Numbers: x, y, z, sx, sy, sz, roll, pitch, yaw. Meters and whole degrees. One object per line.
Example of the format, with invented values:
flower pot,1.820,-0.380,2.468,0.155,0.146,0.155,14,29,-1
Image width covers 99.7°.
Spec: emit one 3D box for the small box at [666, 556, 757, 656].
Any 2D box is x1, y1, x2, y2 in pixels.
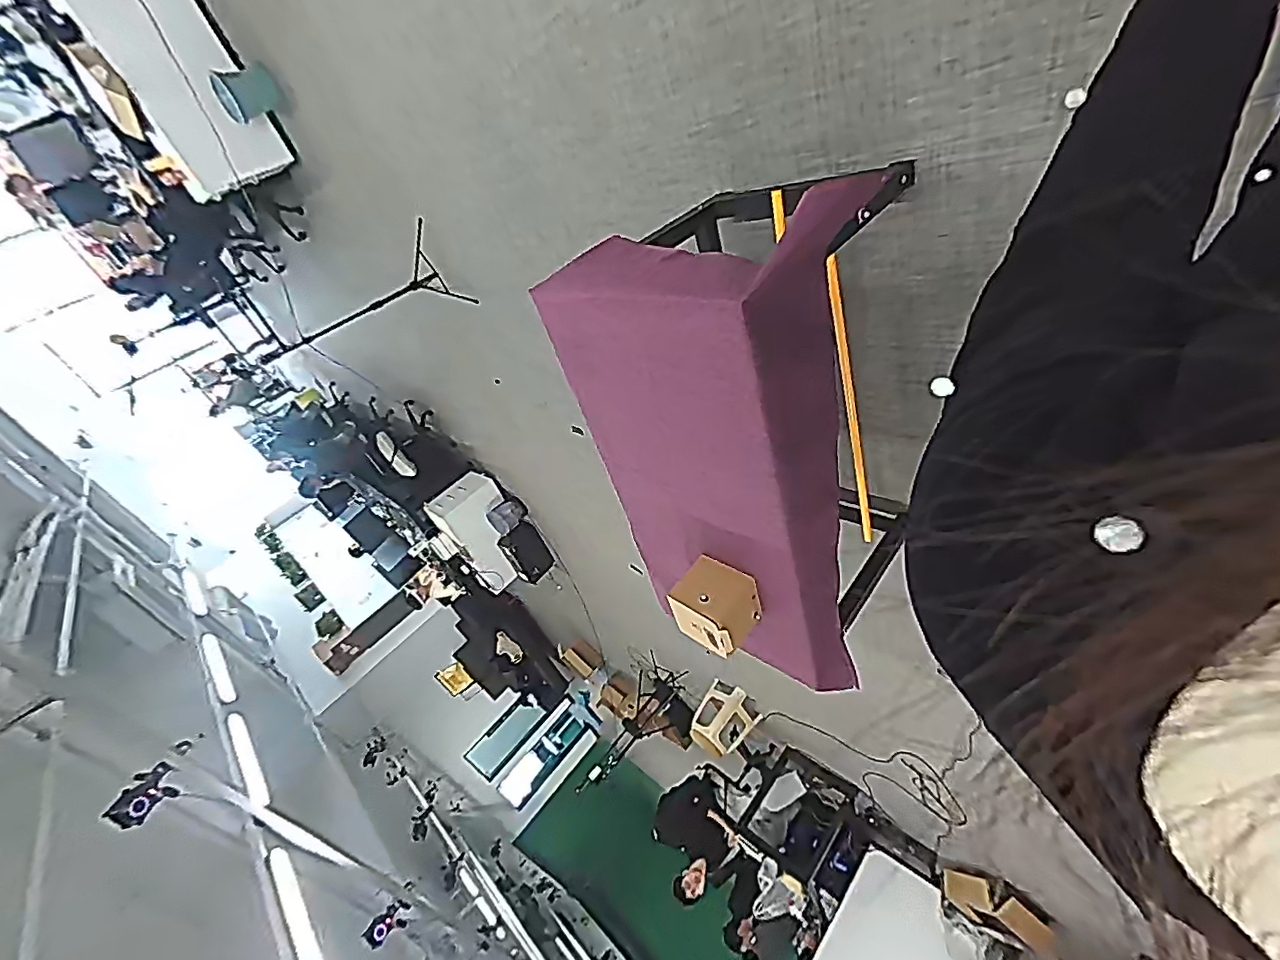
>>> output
small box,0.204,0.337,1.476,0.179,0.176,0.168,22,143,41
